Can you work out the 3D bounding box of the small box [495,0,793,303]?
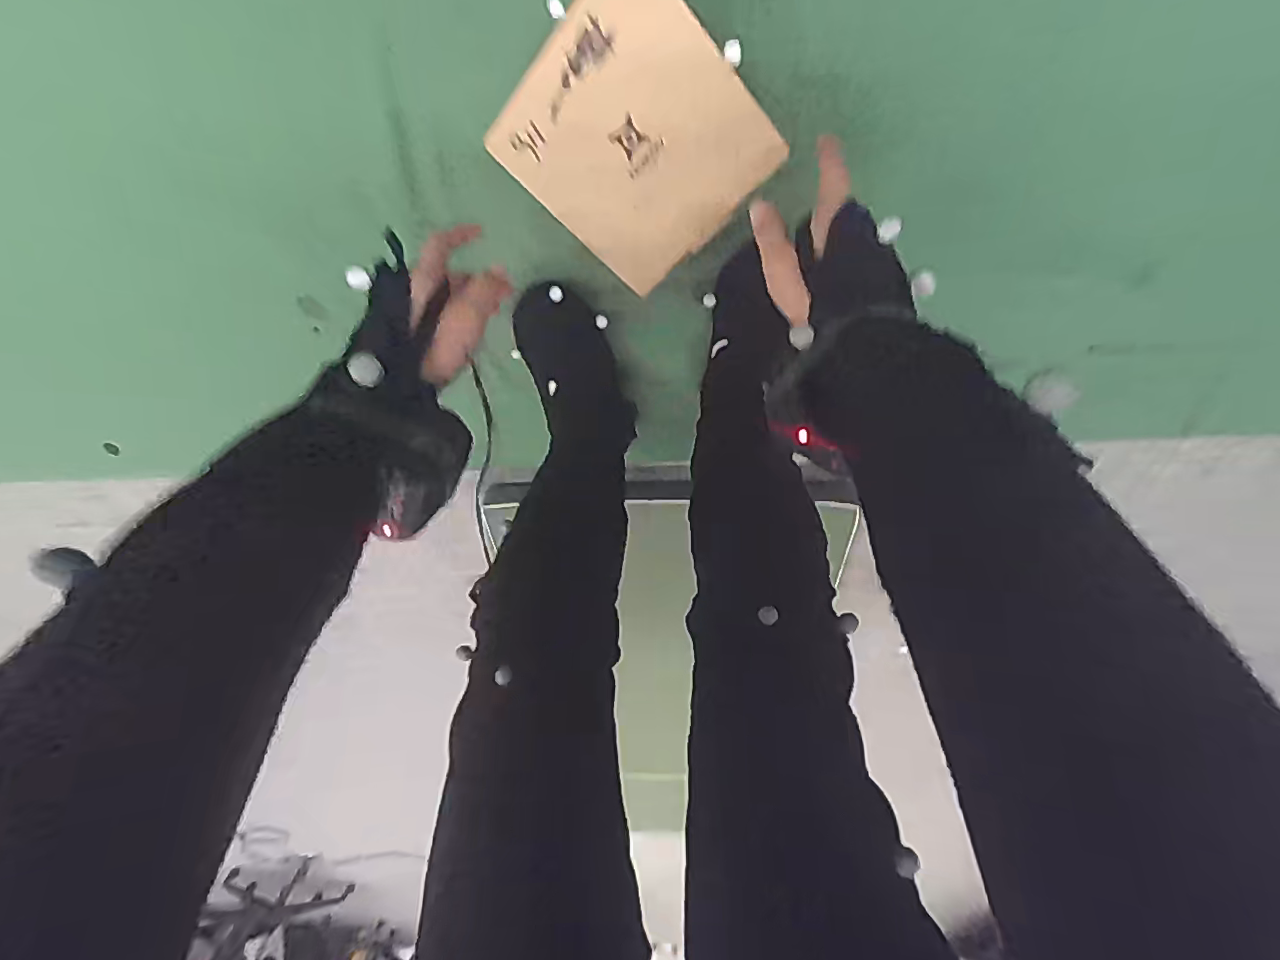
[{"bbox_3d":[0.006,-0.301,0.477,0.179,0.176,0.168,37,124,-27],"label":"small box"}]
